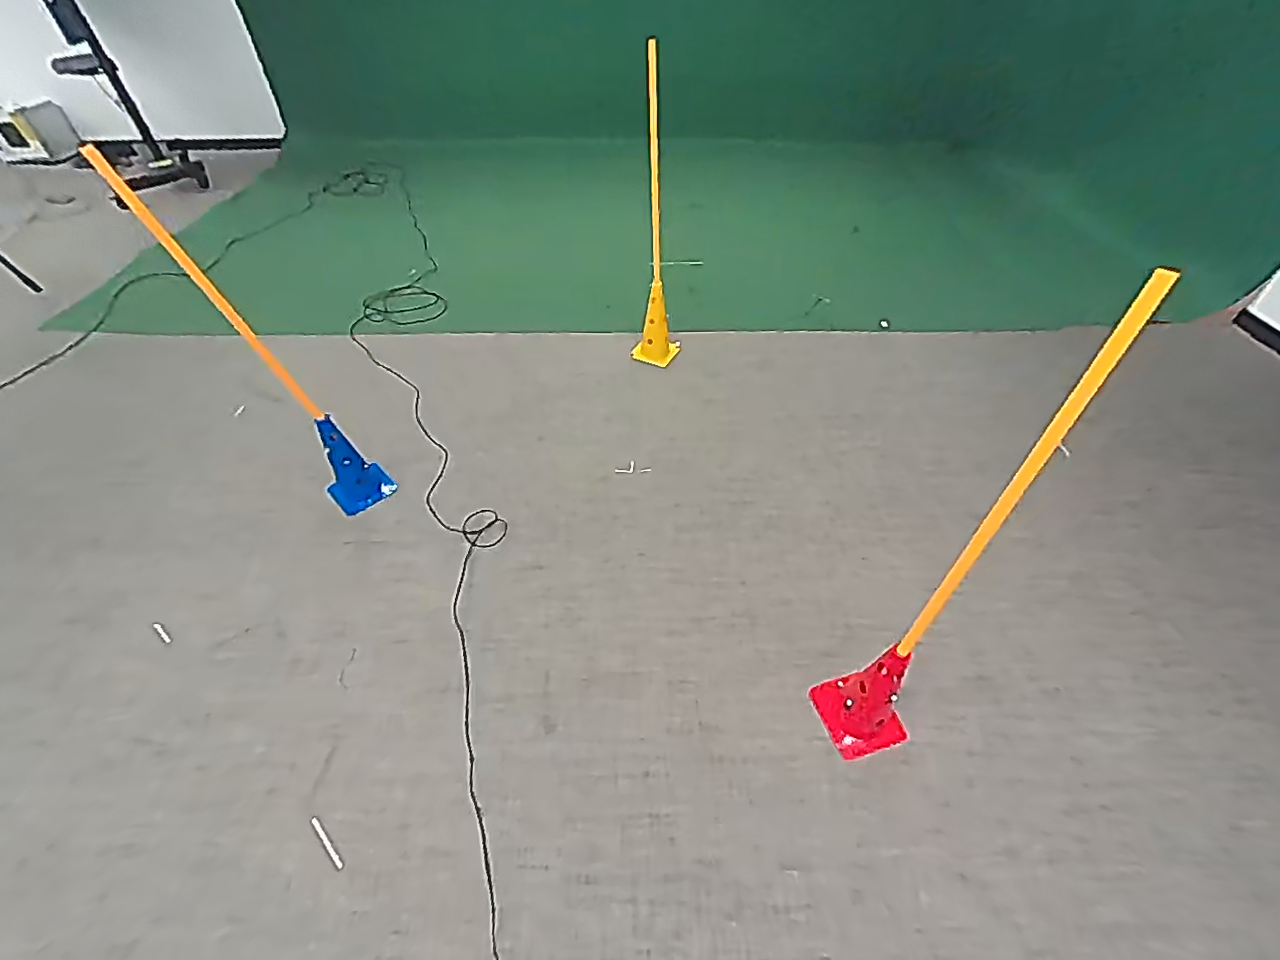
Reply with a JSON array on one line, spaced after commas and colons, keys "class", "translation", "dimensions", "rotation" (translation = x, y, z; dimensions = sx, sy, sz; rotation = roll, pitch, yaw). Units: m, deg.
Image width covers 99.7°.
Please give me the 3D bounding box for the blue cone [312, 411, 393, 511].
[{"class": "blue cone", "translation": [-1.036, -0.083, 1.883], "dimensions": [0.192, 0.380, 0.193], "rotation": [36, 58, 28]}]
